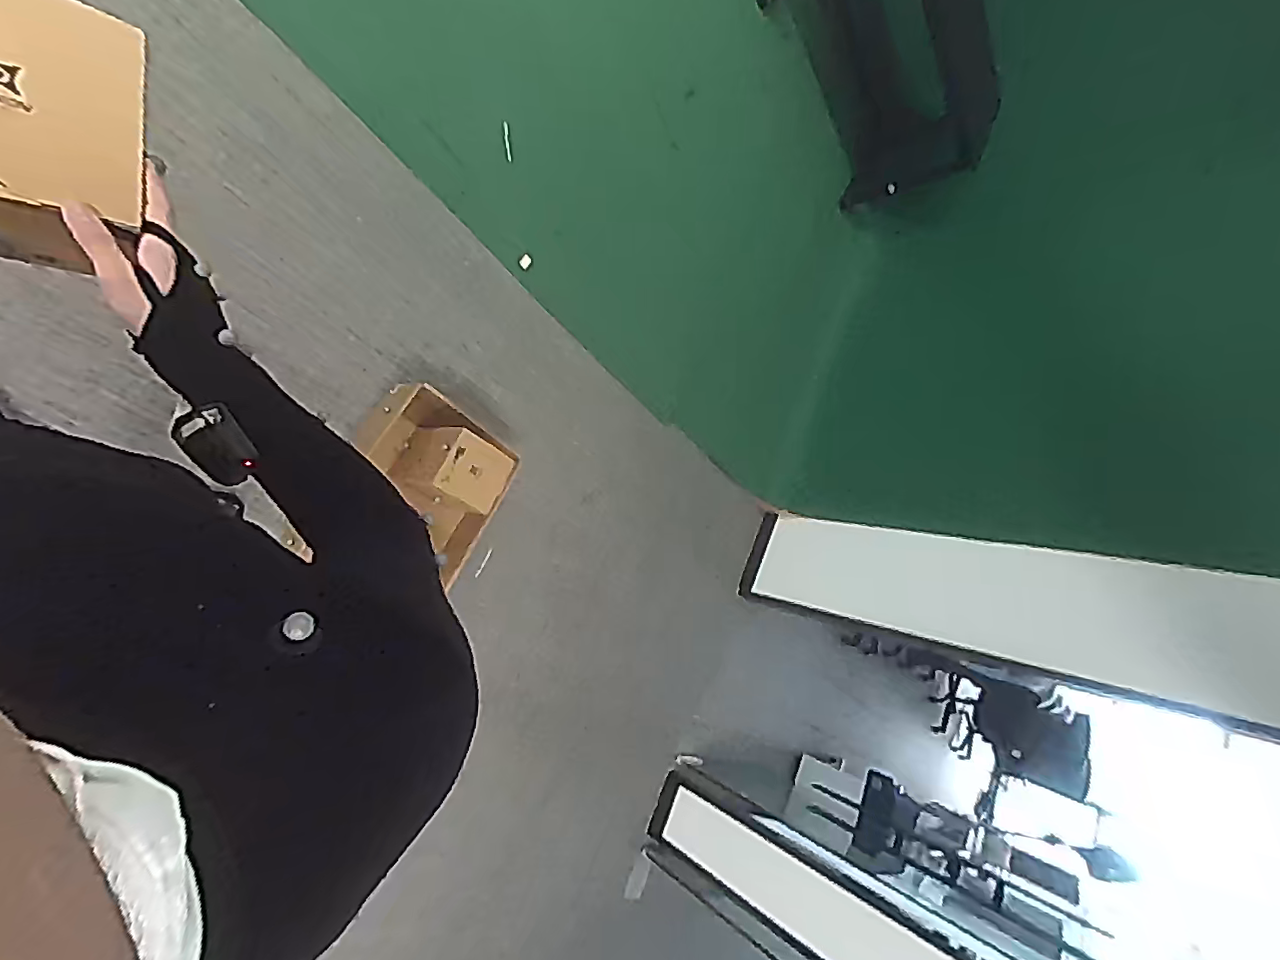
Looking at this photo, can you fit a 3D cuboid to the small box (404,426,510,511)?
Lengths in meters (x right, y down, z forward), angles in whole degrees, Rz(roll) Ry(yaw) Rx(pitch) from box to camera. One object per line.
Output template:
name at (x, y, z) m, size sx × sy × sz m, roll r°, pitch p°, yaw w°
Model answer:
small box at (-0.491, -0.036, 1.446) m, size 0.179 × 0.176 × 0.168 m, roll 40°, pitch 67°, yaw -40°

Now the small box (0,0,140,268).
small box at (-0.544, -0.305, 0.456) m, size 0.168 × 0.176 × 0.179 m, roll 0°, pitch 92°, yaw -47°
